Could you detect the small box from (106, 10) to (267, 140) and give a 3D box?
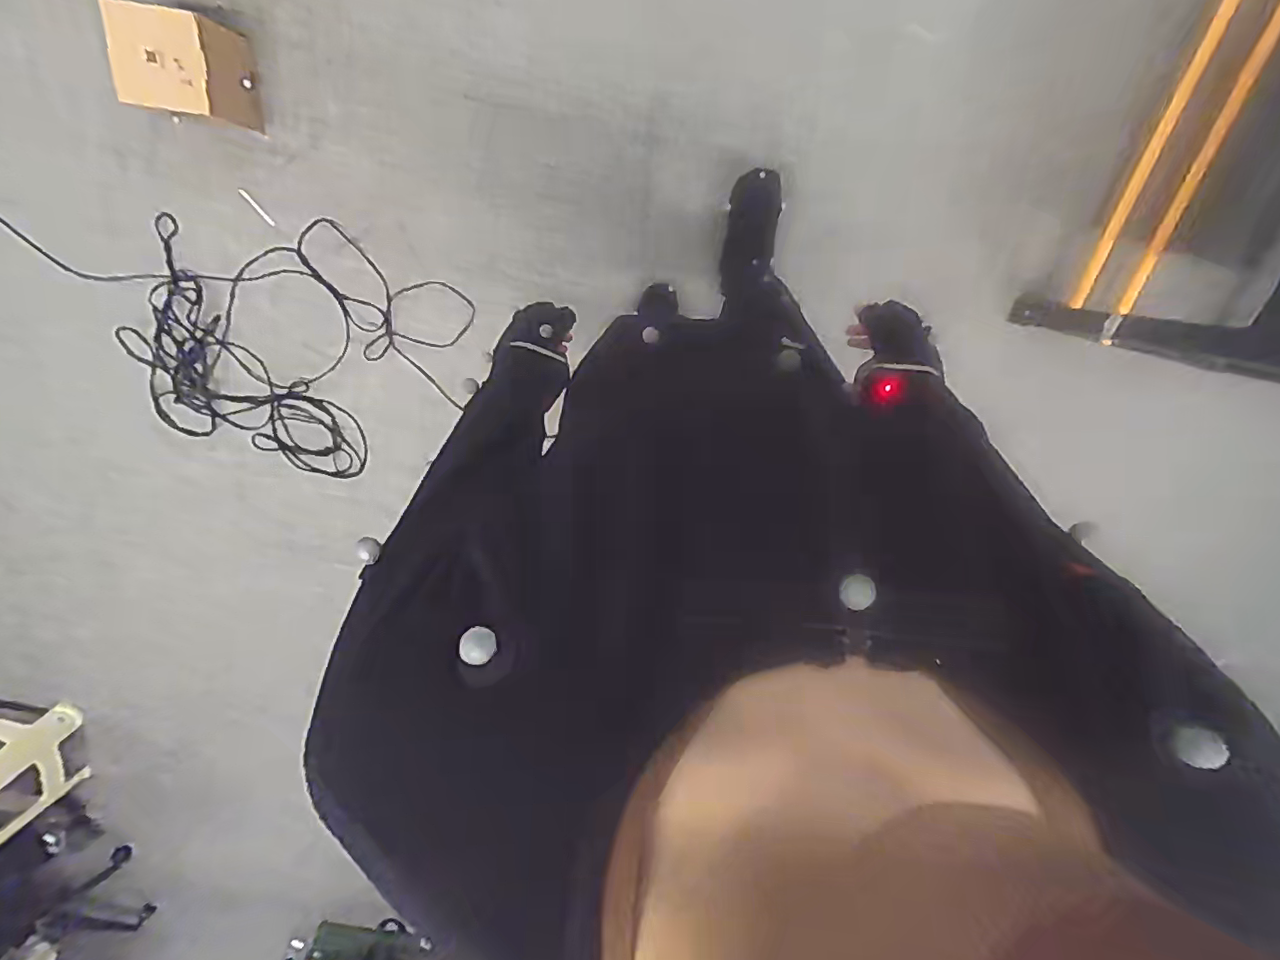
[{"bbox_3d":[-0.909,-0.812,1.102,0.179,0.176,0.168,7,112,-4],"label":"small box"}]
